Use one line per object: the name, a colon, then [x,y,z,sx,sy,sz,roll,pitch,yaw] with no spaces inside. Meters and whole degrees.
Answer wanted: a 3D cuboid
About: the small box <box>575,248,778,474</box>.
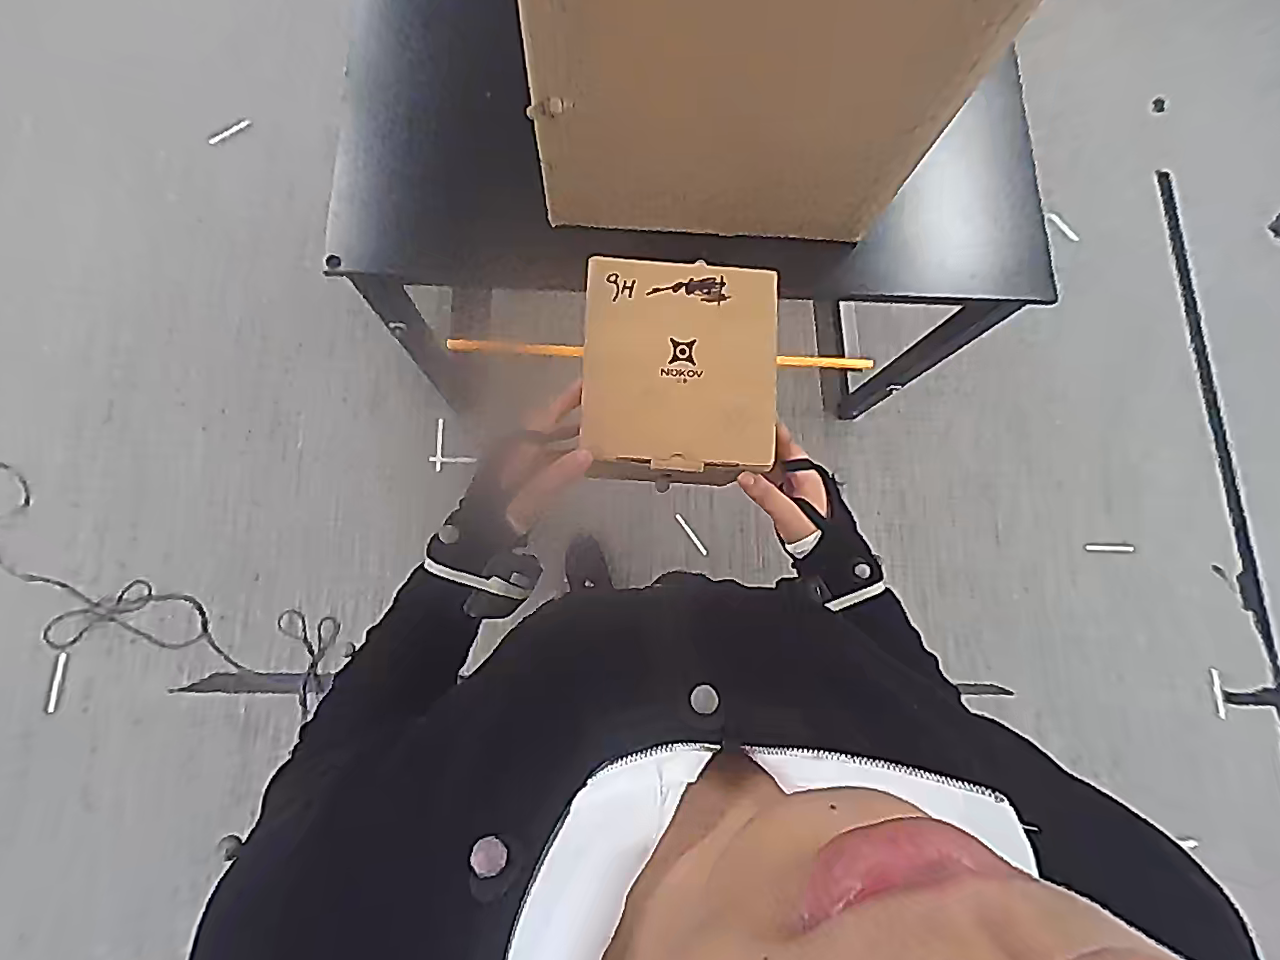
small box: [0.027,-0.100,0.533,0.168,0.176,0.179,3,86,-4]
